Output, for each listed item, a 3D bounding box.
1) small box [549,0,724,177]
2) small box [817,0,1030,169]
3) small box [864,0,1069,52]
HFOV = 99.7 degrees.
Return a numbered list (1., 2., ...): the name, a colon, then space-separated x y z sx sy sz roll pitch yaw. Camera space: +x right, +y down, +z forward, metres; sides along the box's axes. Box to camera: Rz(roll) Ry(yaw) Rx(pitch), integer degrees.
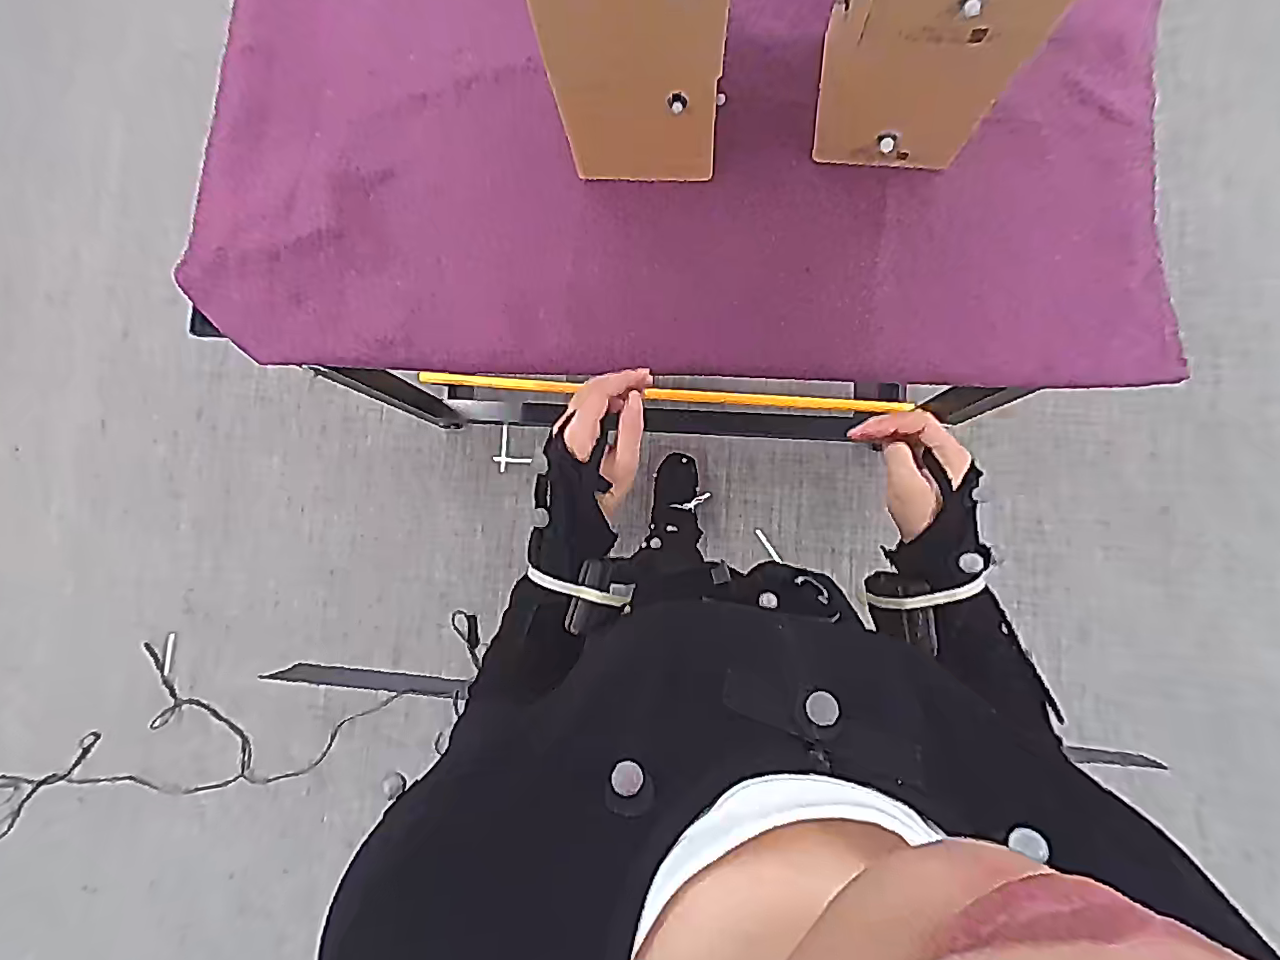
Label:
1. small box: 0.004 -0.482 0.631 0.179 0.176 0.168 3 84 4
2. small box: 0.306 -0.491 0.607 0.168 0.176 0.179 7 86 5
3. small box: 0.296 -0.506 0.442 0.168 0.176 0.179 7 85 6
